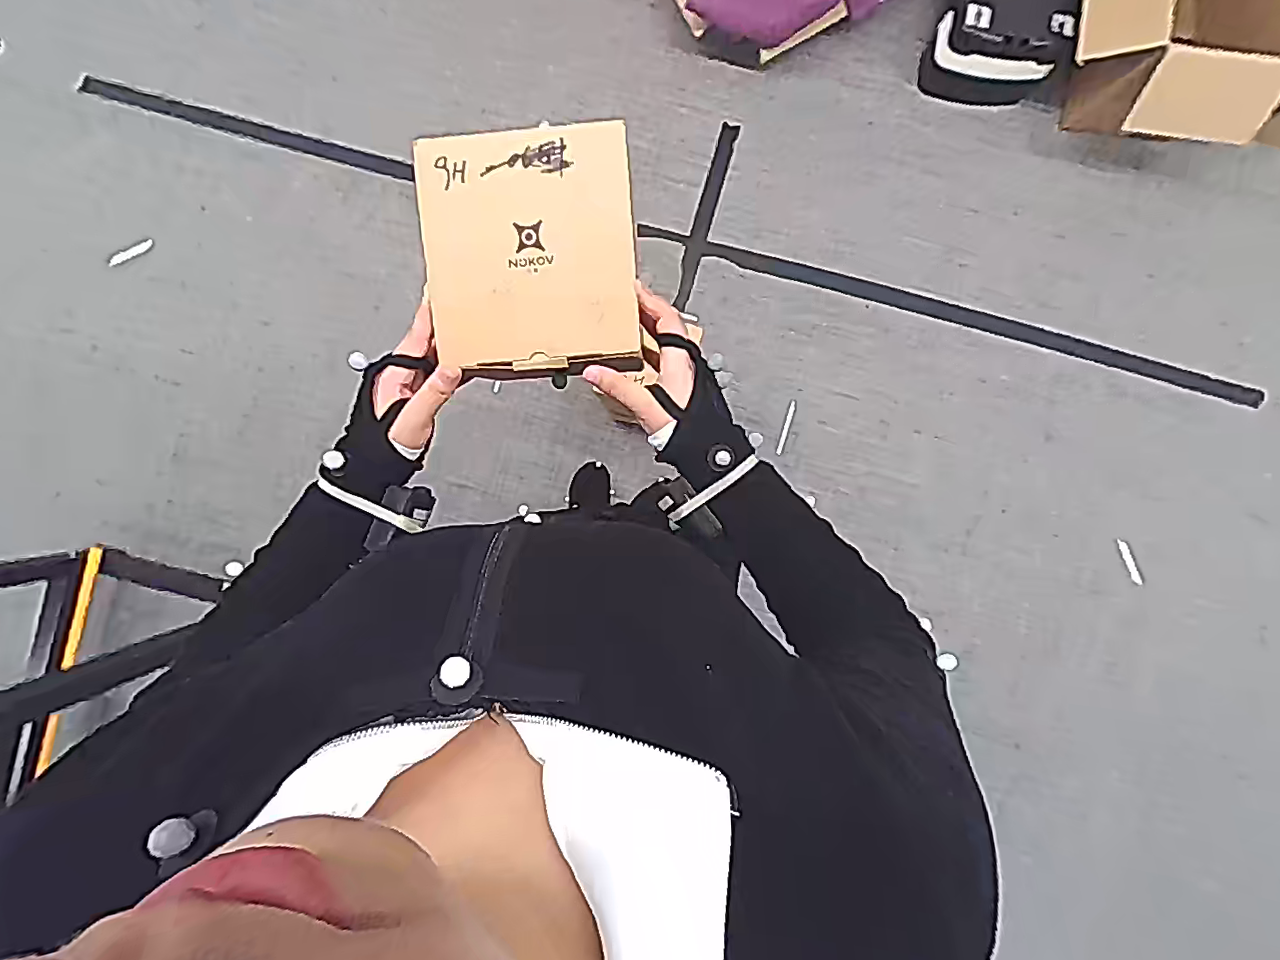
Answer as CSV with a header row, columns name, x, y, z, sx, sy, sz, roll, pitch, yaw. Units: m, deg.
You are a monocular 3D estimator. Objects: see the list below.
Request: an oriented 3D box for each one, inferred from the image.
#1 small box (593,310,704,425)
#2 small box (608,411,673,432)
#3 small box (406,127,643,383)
name,x,y,z,sx,sy,sz,roll,pitch,yaw
small box,0.016,-0.221,1.080,0.168,0.176,0.179,19,92,1
small box,0.017,-0.227,1.409,0.168,0.176,0.179,11,93,1
small box,-0.086,-0.183,0.496,0.168,0.176,0.179,-5,98,2
